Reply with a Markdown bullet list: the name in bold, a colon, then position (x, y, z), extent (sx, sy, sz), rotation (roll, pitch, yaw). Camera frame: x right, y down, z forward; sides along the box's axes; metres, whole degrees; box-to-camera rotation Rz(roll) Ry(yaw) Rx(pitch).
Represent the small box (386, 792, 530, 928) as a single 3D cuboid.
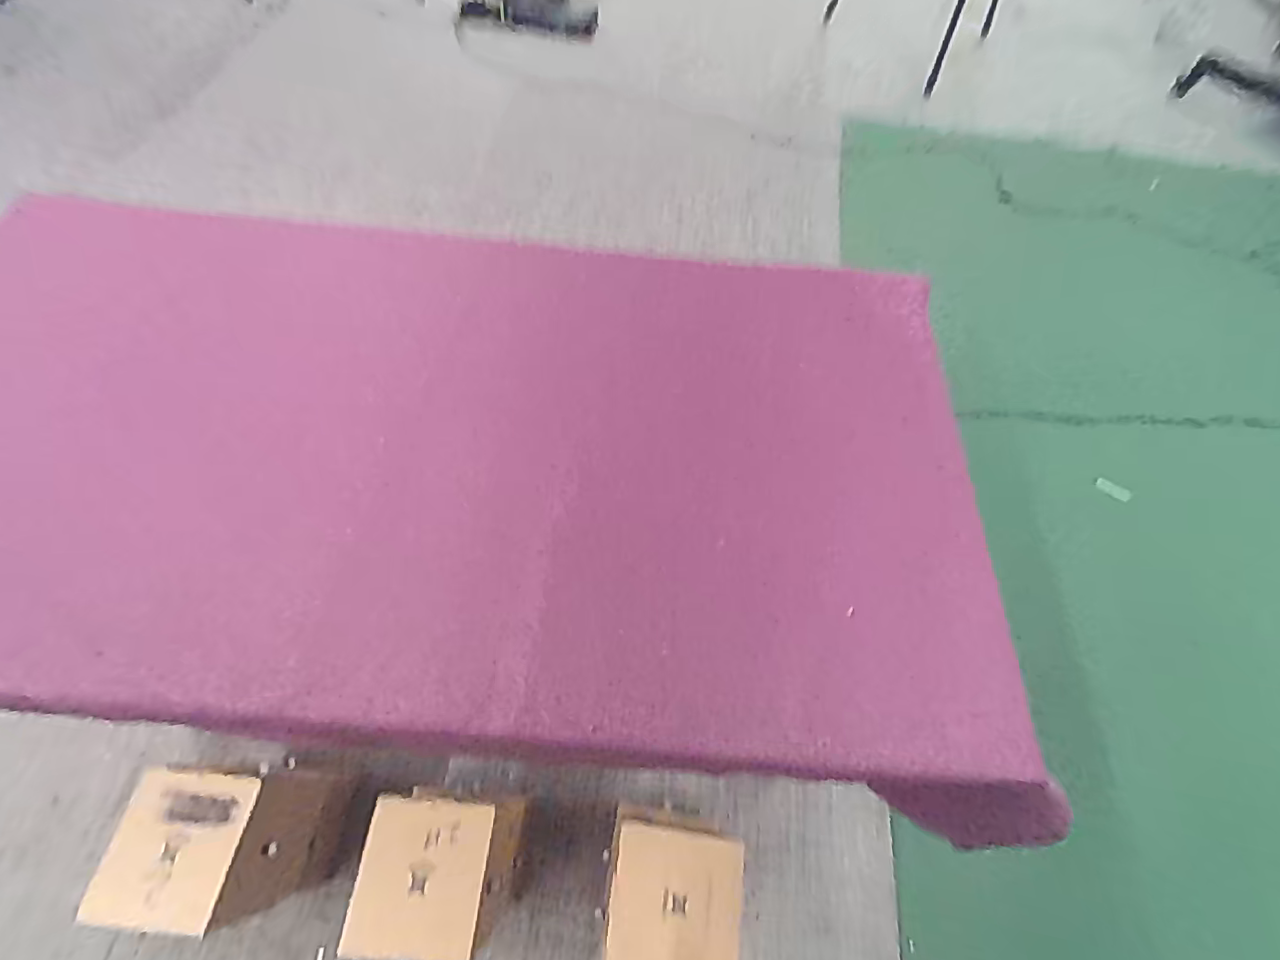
- **small box**: position (-0.301, 0.647, 0.937), extent (0.179, 0.176, 0.168), rotation (6, 60, 1)
